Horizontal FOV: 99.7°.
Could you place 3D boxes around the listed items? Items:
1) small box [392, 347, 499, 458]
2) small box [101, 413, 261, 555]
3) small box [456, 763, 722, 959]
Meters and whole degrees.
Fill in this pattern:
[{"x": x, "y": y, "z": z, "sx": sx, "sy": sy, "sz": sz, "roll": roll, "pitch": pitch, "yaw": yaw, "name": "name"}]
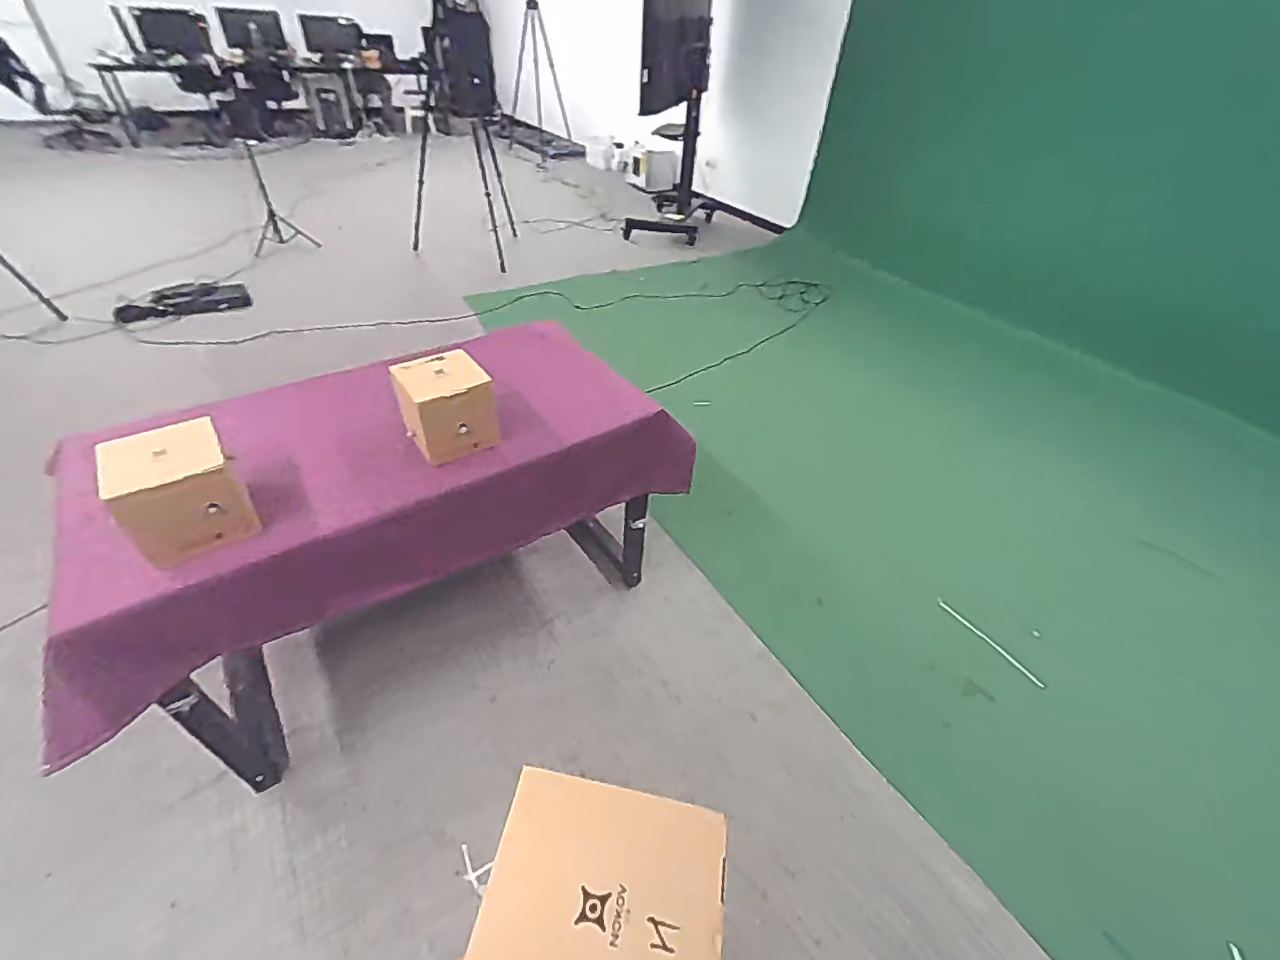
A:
[{"x": -0.431, "y": -0.169, "z": 1.214, "sx": 0.168, "sy": 0.176, "sz": 0.179, "roll": -23, "pitch": 49, "yaw": -28, "name": "small box"}, {"x": -0.815, "y": 0.012, "z": 0.971, "sx": 0.168, "sy": 0.176, "sz": 0.179, "roll": -23, "pitch": 48, "yaw": -30, "name": "small box"}, {"x": -0.042, "y": 0.365, "z": 0.449, "sx": 0.179, "sy": 0.176, "sz": 0.168, "roll": 13, "pitch": 45, "yaw": 1, "name": "small box"}]
